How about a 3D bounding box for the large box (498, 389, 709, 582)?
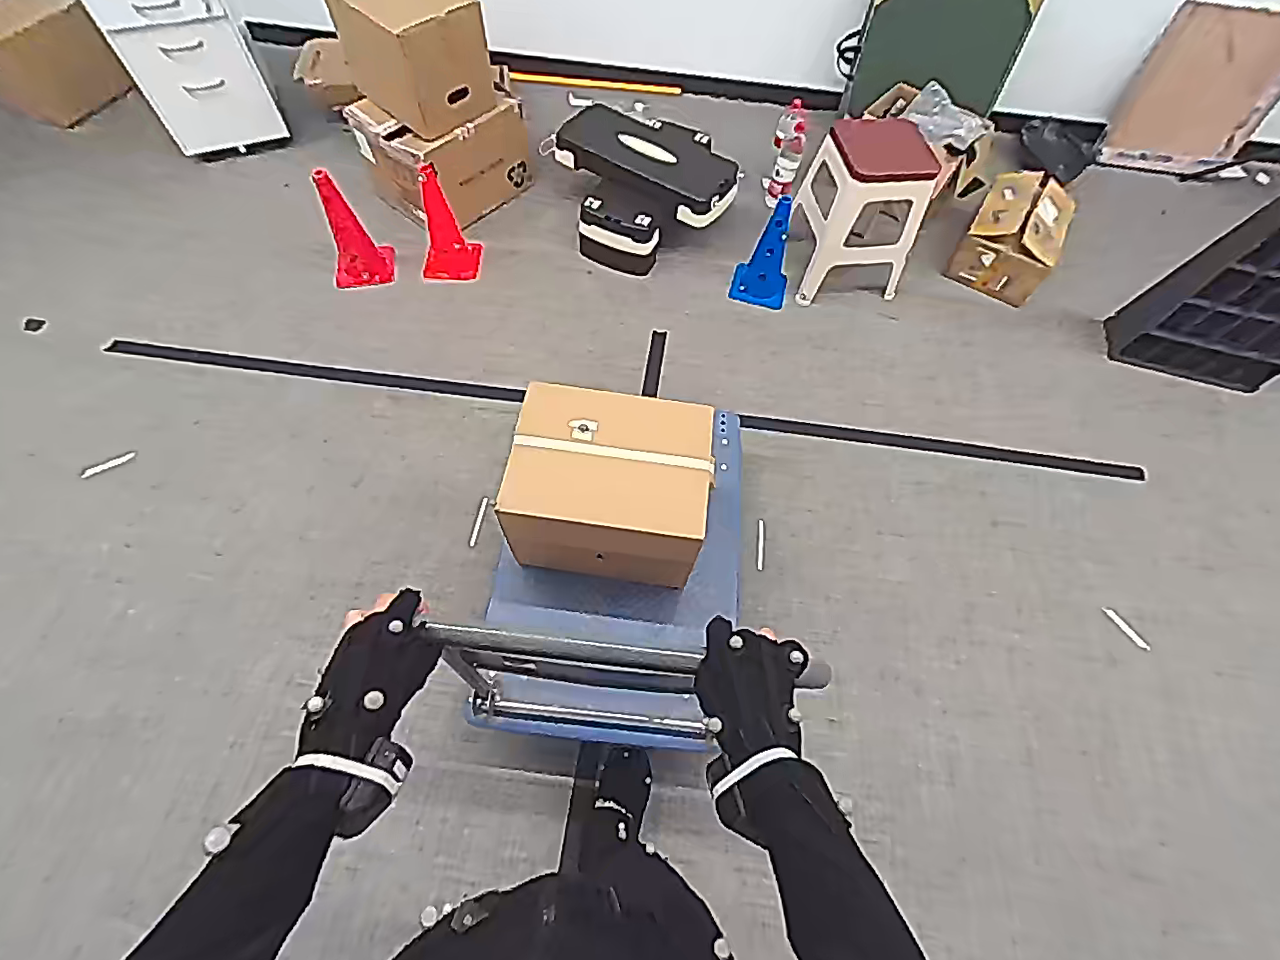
[{"bbox_3d":[-0.066,0.026,1.240,0.408,0.320,0.320,8,62,2],"label":"large box"}]
